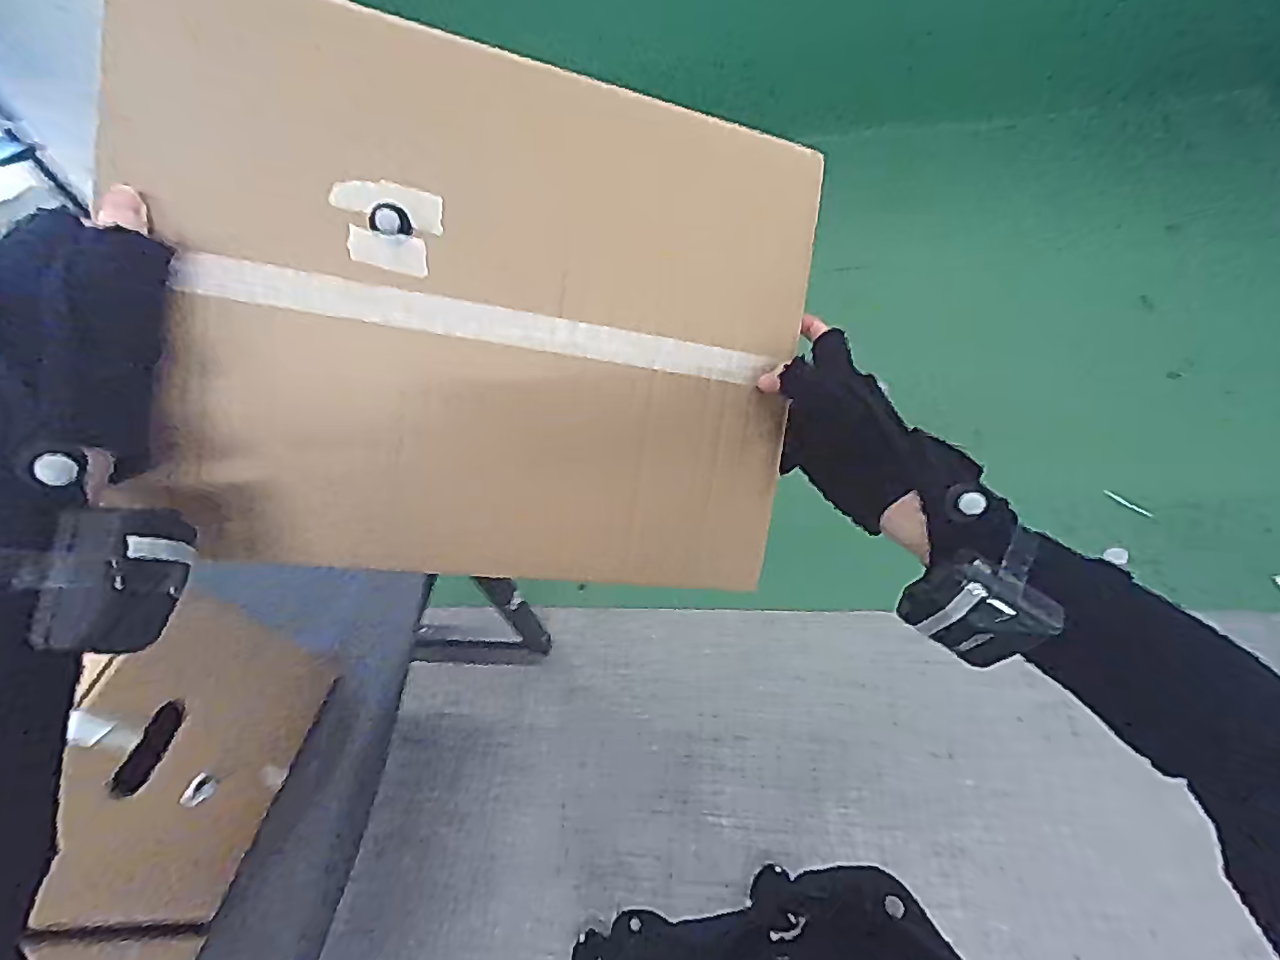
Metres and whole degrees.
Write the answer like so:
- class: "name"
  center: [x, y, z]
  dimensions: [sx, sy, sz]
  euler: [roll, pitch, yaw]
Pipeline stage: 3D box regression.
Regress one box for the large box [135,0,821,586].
- class: "large box"
  center: [-0.115, -0.110, 0.491]
  dimensions: [0.408, 0.320, 0.320]
  euler: [7, 5, -14]
